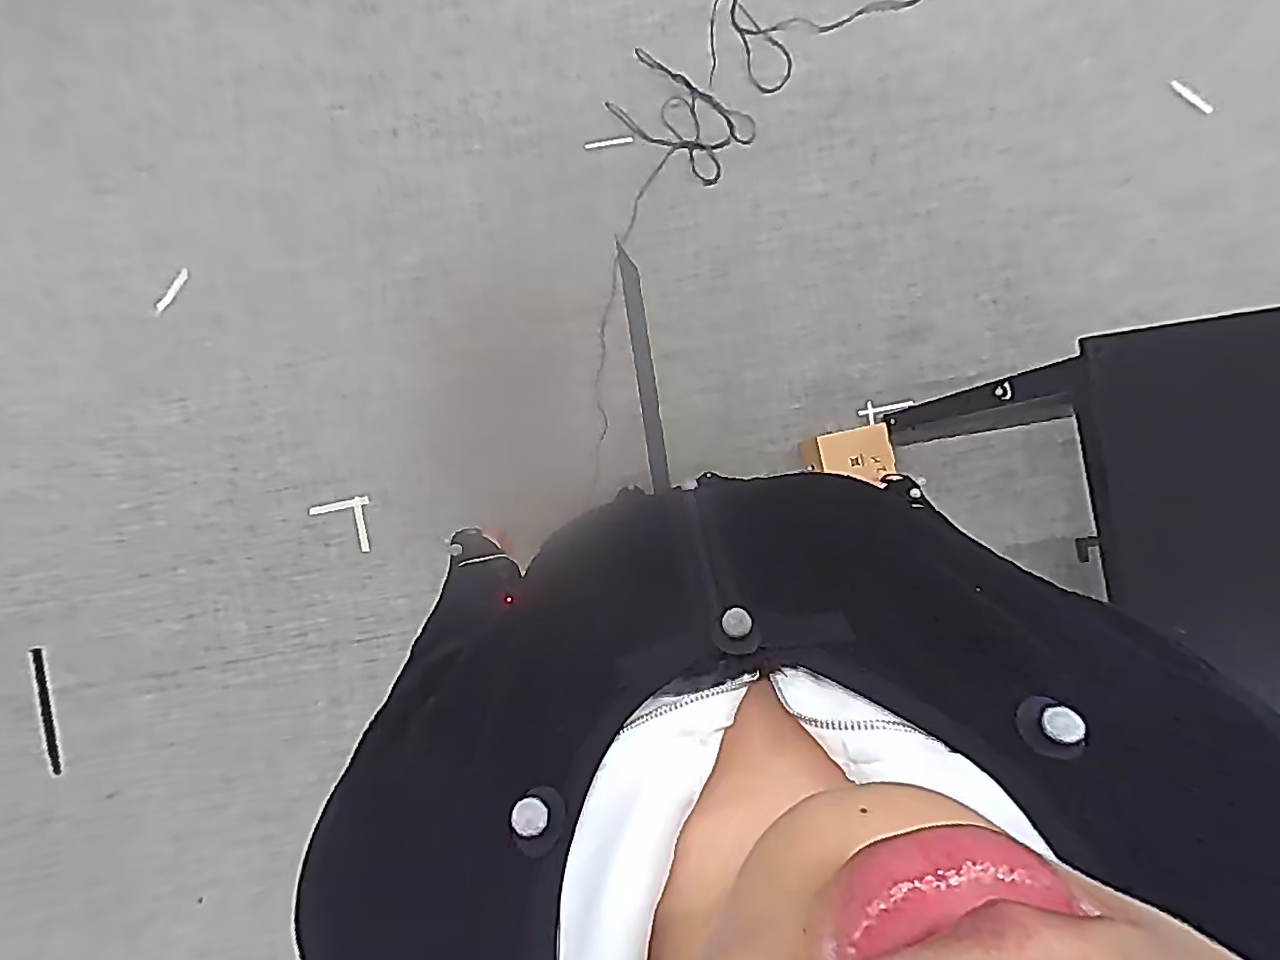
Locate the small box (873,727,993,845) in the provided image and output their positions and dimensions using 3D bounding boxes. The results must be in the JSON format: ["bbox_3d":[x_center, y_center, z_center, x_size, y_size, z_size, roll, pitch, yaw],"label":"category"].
[{"bbox_3d":[0.748,0.779,1.400,0.179,0.176,0.168,34,90,2],"label":"small box"}]
